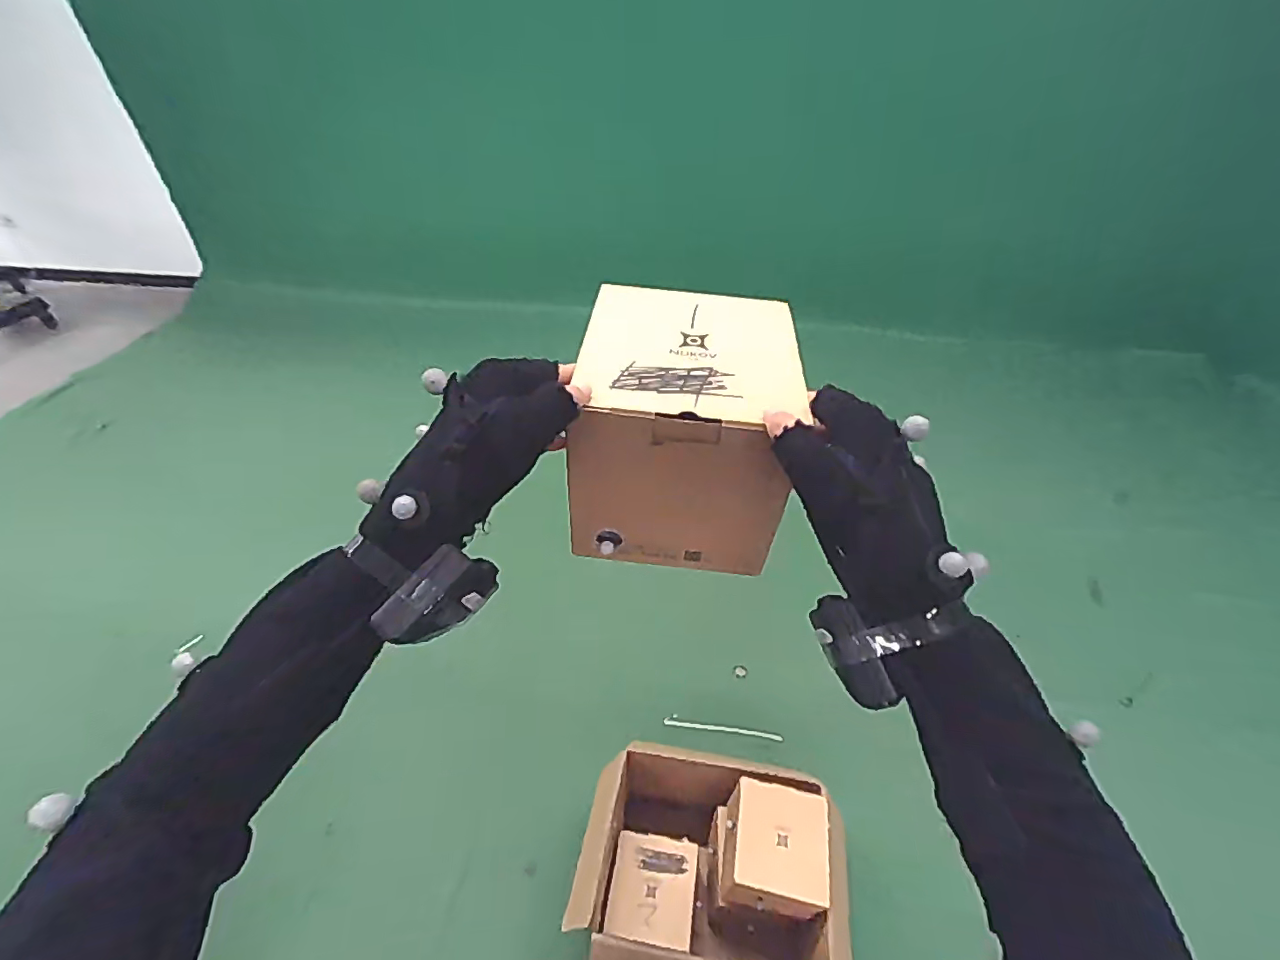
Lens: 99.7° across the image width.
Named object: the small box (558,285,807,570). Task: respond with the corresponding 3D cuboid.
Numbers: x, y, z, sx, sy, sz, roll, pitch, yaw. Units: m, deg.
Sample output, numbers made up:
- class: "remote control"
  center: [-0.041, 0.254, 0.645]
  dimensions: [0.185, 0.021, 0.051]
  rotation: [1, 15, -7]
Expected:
- class: "small box"
  center: [0.032, -0.043, 0.463]
  dimensions: [0.168, 0.176, 0.179]
  rotation: [7, 45, 1]
